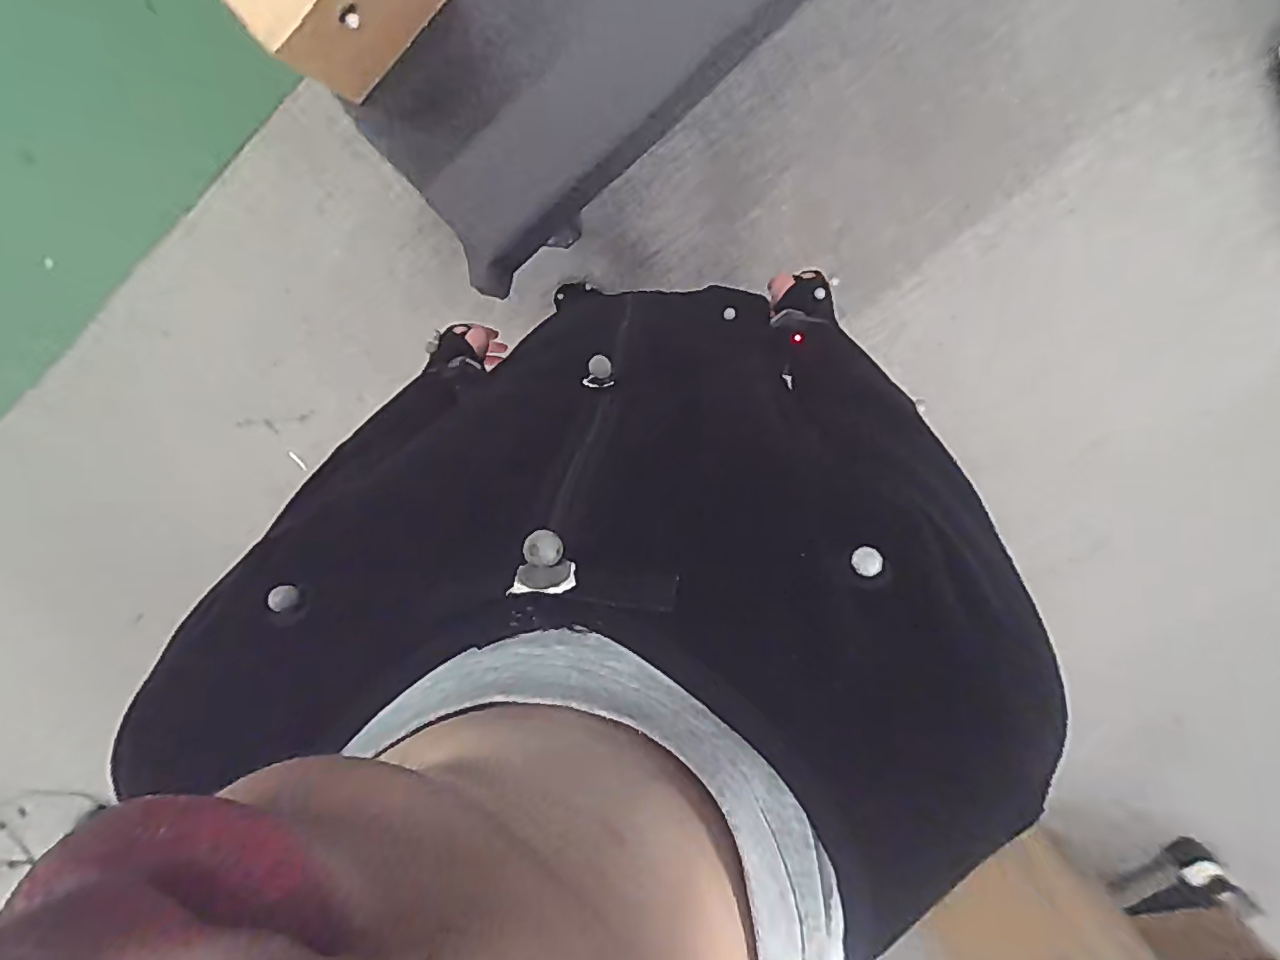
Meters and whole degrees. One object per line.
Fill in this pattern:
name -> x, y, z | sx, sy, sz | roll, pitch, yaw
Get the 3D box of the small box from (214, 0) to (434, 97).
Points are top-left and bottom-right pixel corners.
small box -> -0.327, -0.519, 0.517 | 0.179, 0.176, 0.168 | -40, 107, 11
